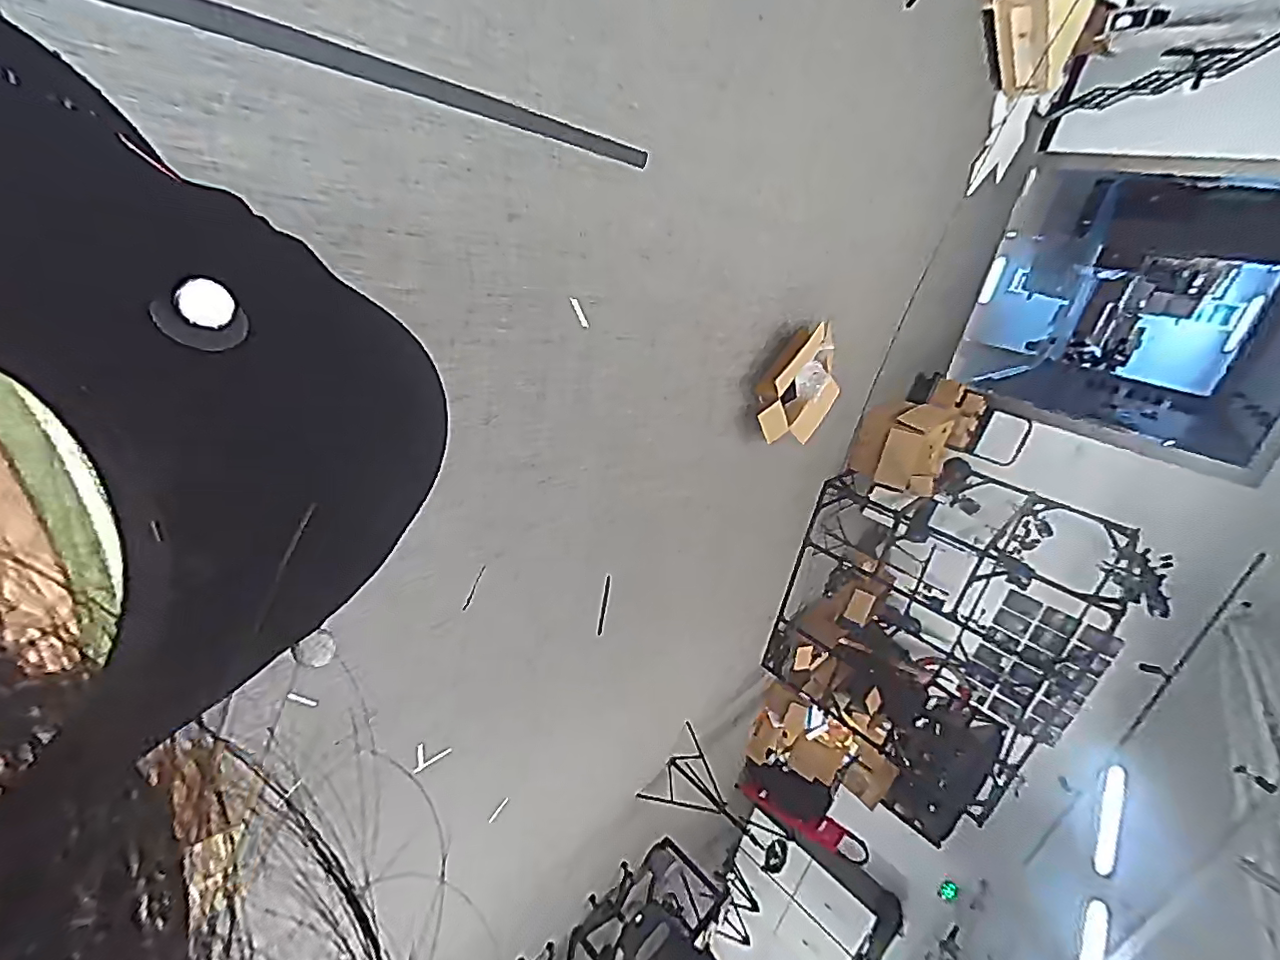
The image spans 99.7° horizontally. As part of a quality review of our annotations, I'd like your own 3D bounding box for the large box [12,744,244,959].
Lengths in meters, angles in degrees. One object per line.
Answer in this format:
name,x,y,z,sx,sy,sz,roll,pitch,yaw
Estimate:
large box,-1.324,0.992,1.422,0.408,0.320,0.320,-7,119,-50
